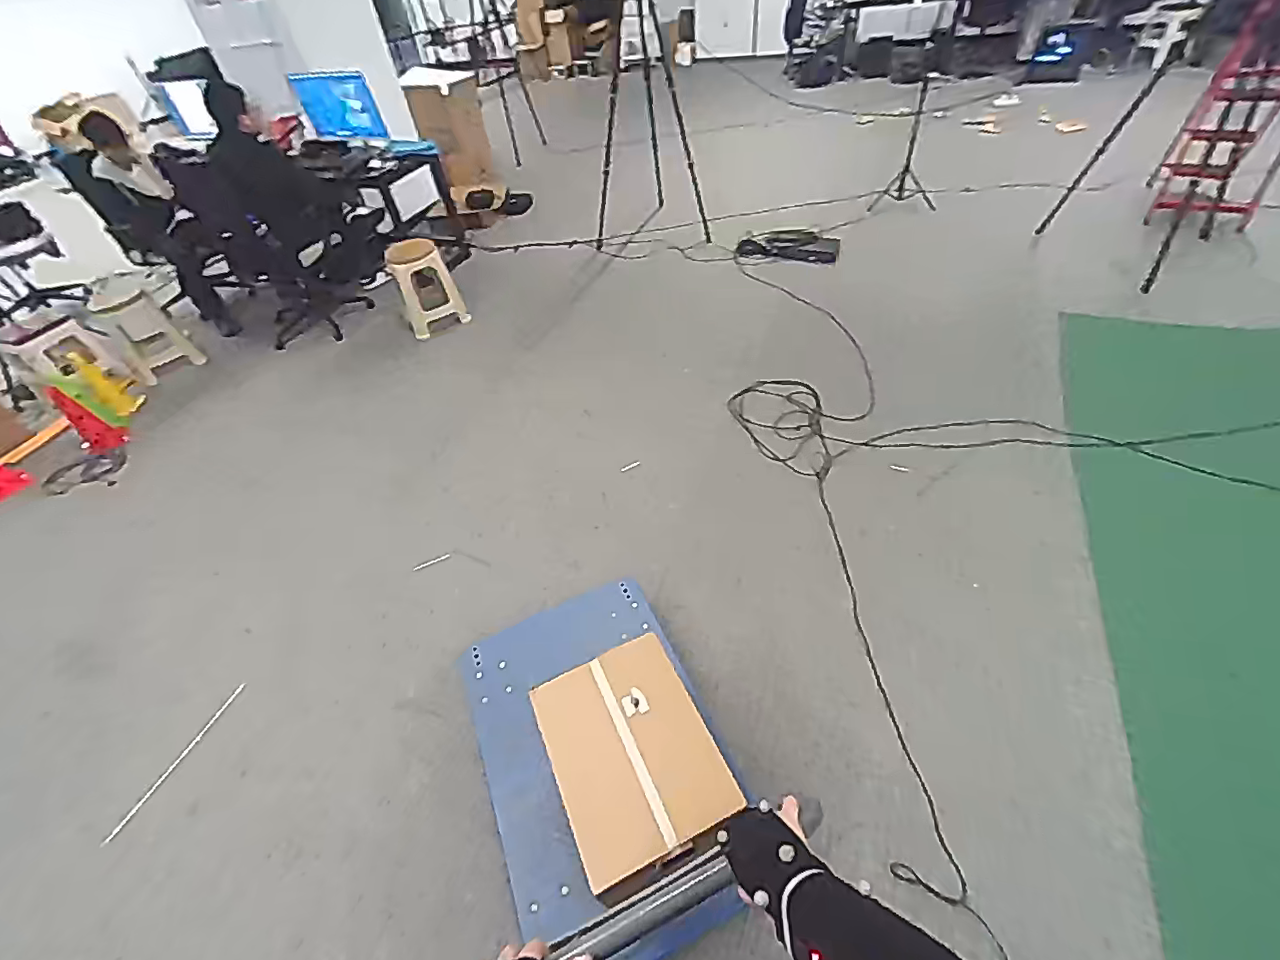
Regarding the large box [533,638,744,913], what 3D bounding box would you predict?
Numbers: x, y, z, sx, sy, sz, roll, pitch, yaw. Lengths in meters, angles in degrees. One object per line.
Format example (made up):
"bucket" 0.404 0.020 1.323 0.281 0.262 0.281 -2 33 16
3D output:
"large box" -0.002 0.653 1.219 0.320 0.320 0.408 -22 46 -13
